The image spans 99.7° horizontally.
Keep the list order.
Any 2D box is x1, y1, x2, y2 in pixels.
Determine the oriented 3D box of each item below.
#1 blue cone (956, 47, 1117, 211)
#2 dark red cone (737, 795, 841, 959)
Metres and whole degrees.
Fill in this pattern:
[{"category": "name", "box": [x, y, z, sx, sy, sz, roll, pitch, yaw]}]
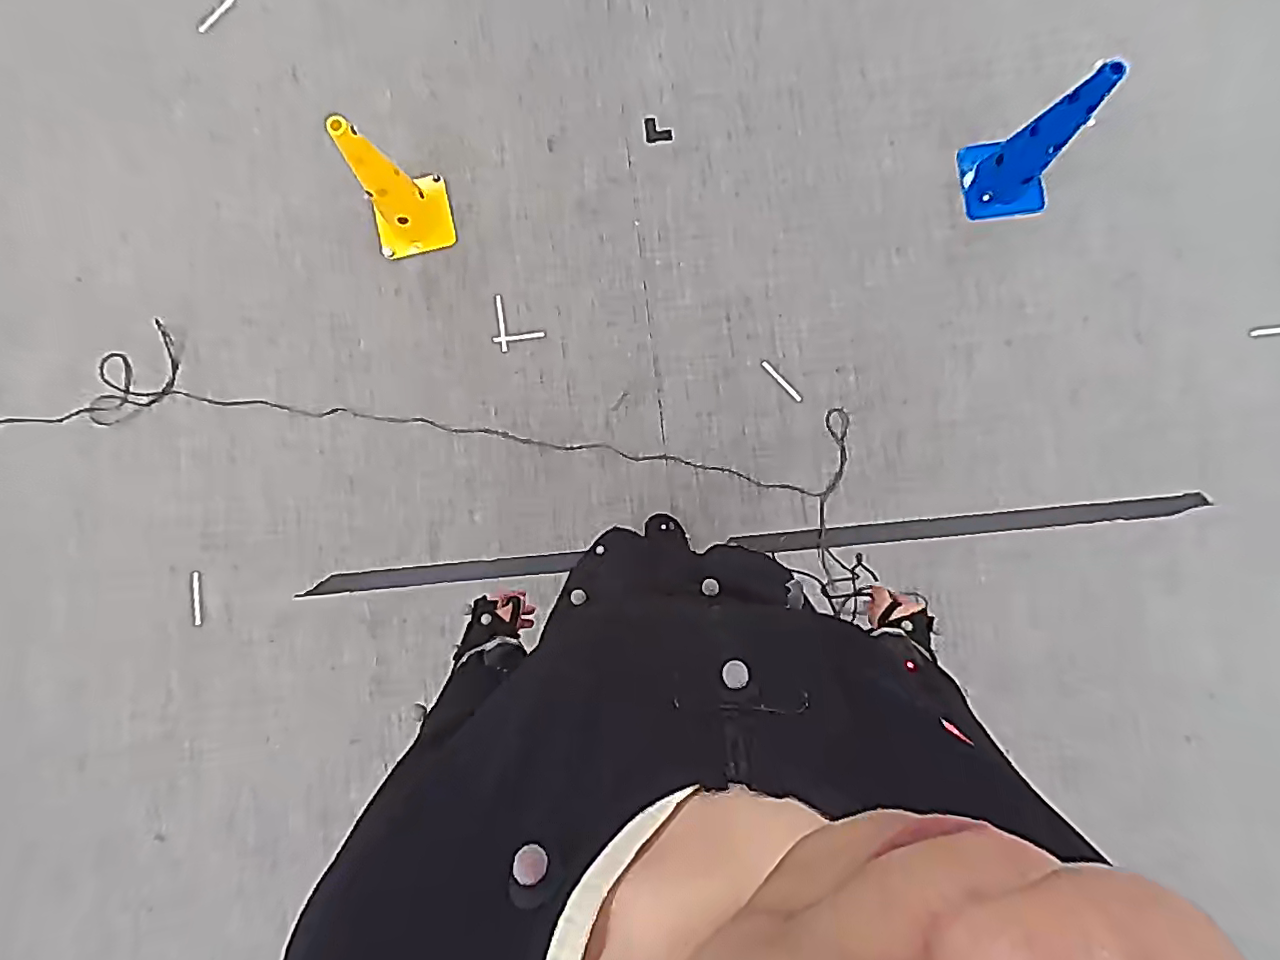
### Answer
[{"category": "blue cone", "box": [0.922, -0.804, 1.237, 0.193, 0.380, 0.192, -6, 85, 1]}, {"category": "dark red cone", "box": [0.341, 0.855, 1.128, 0.202, 0.394, 0.201, -14, 85, 1]}]
